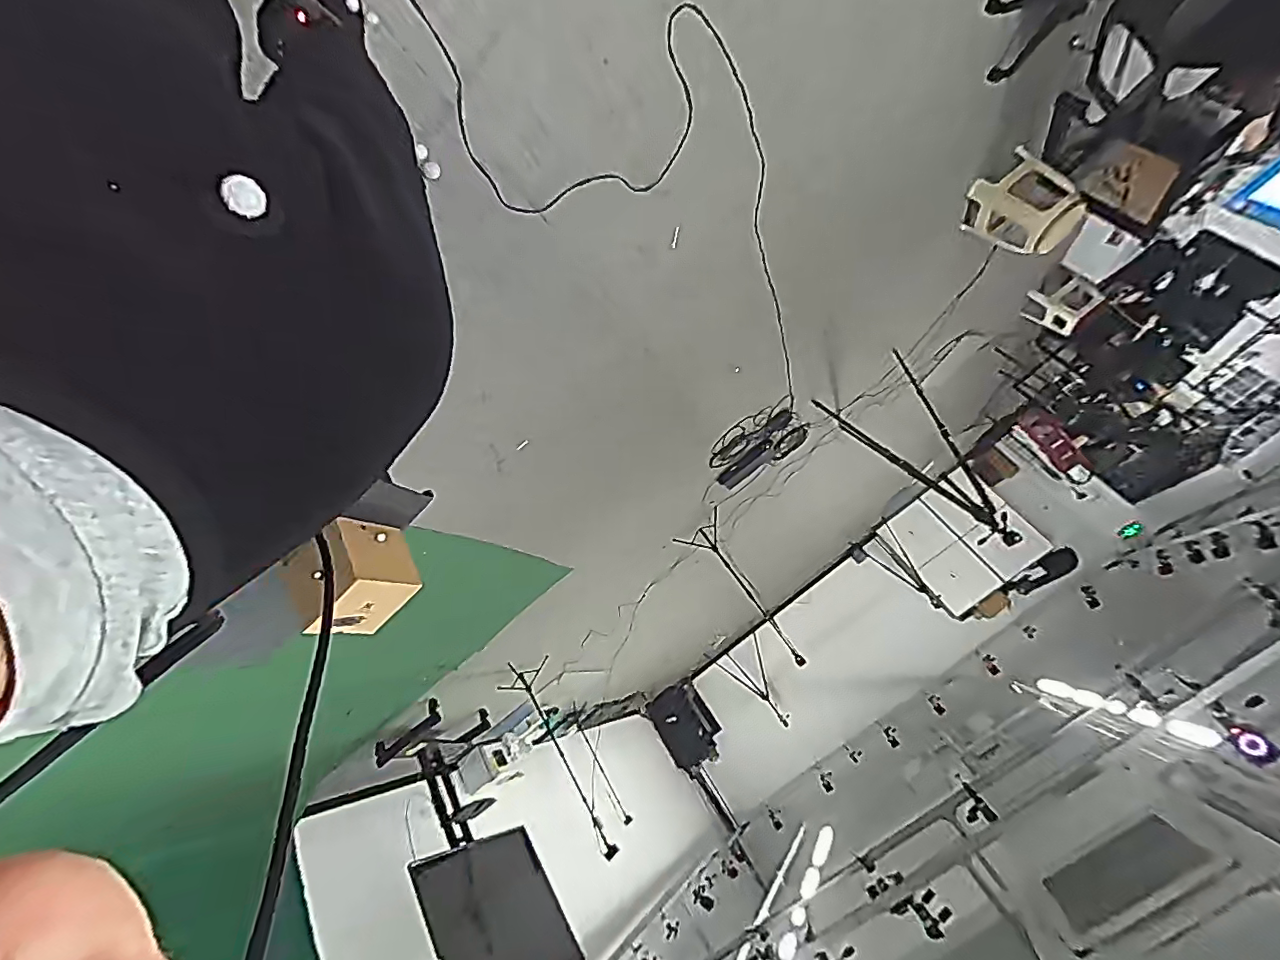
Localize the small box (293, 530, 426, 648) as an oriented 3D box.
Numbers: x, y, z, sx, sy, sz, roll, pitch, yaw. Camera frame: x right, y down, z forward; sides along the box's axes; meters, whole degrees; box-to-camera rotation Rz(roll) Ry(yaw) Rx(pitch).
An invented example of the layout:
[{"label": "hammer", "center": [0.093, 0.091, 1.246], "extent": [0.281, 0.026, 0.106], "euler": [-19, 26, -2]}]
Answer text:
[{"label": "small box", "center": [-0.595, 0.232, 1.139], "extent": [0.179, 0.176, 0.168], "euler": [-43, 152, 9]}]

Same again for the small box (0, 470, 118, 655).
[{"label": "small box", "center": [-0.818, 0.102, 0.685], "extent": [0.179, 0.176, 0.168], "euler": [-42, 151, 11]}]
